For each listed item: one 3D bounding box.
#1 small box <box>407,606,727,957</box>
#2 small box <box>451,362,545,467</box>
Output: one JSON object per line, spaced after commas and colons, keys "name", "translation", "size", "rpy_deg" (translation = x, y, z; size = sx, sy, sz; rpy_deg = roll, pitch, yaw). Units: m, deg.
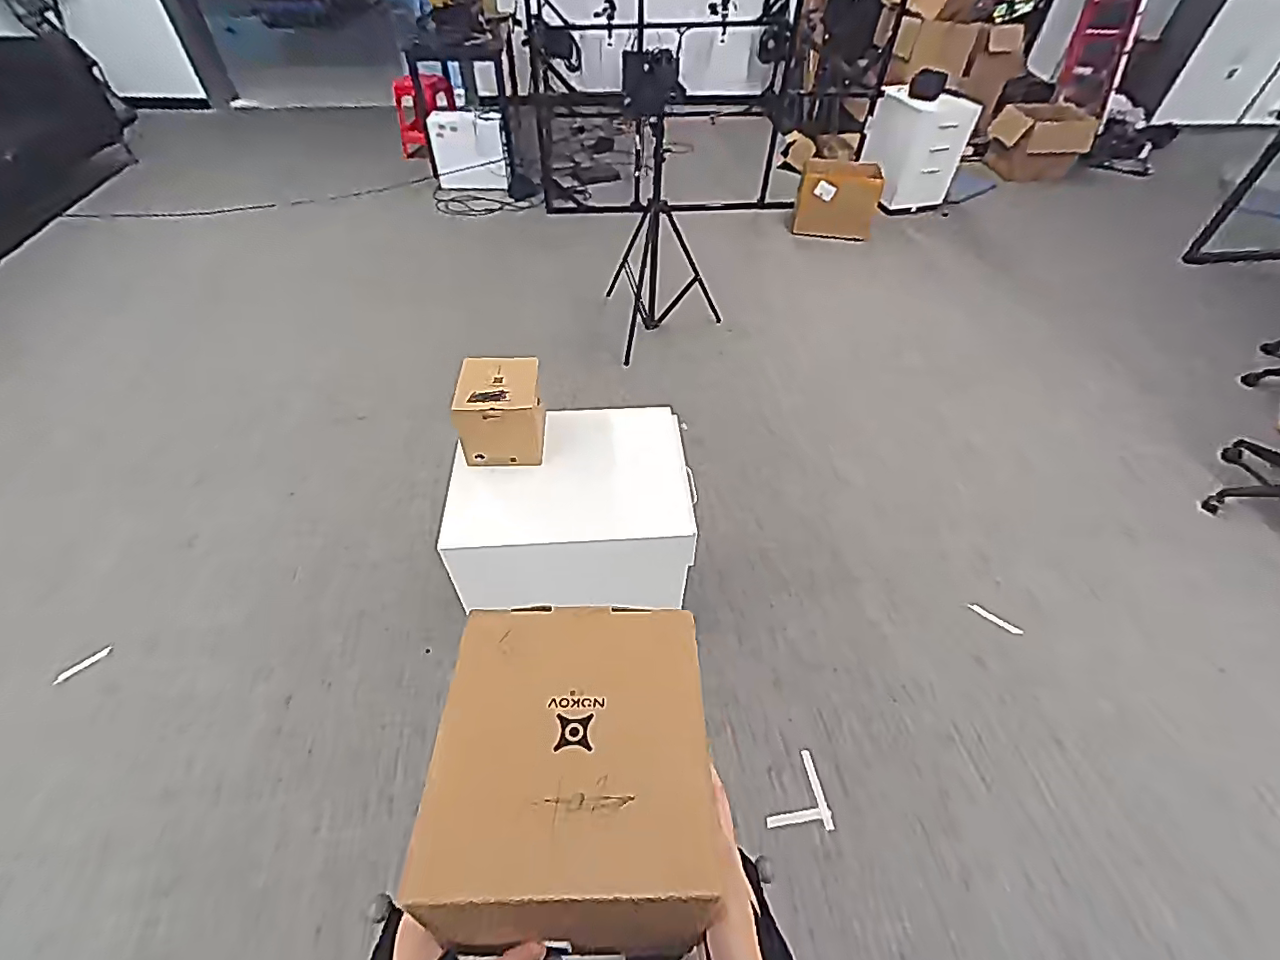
{"name": "small box", "translation": [-0.042, 0.212, 0.387], "size": [0.168, 0.176, 0.179], "rpy_deg": [1, 42, -2]}
{"name": "small box", "translation": [-0.303, -0.141, 1.197], "size": [0.168, 0.176, 0.179], "rpy_deg": [-1, 48, -4]}
